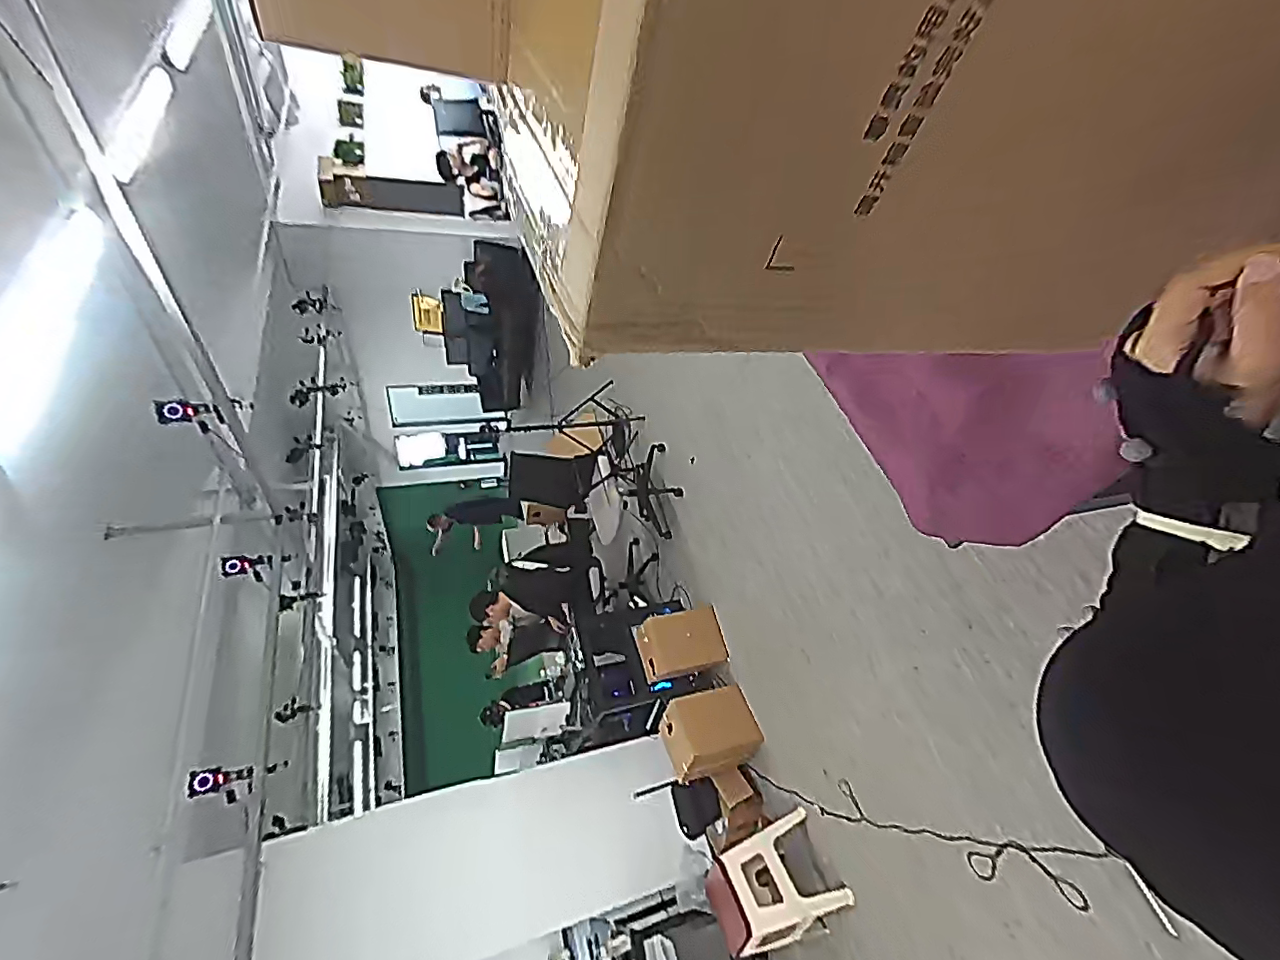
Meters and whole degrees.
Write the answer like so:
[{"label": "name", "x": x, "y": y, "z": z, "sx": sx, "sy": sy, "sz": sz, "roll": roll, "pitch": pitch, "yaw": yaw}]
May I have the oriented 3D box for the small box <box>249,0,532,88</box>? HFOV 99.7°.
[{"label": "small box", "x": -0.160, "y": -0.387, "z": 0.346, "sx": 0.179, "sy": 0.176, "sz": 0.168, "roll": 112, "pitch": 144, "yaw": -49}]
